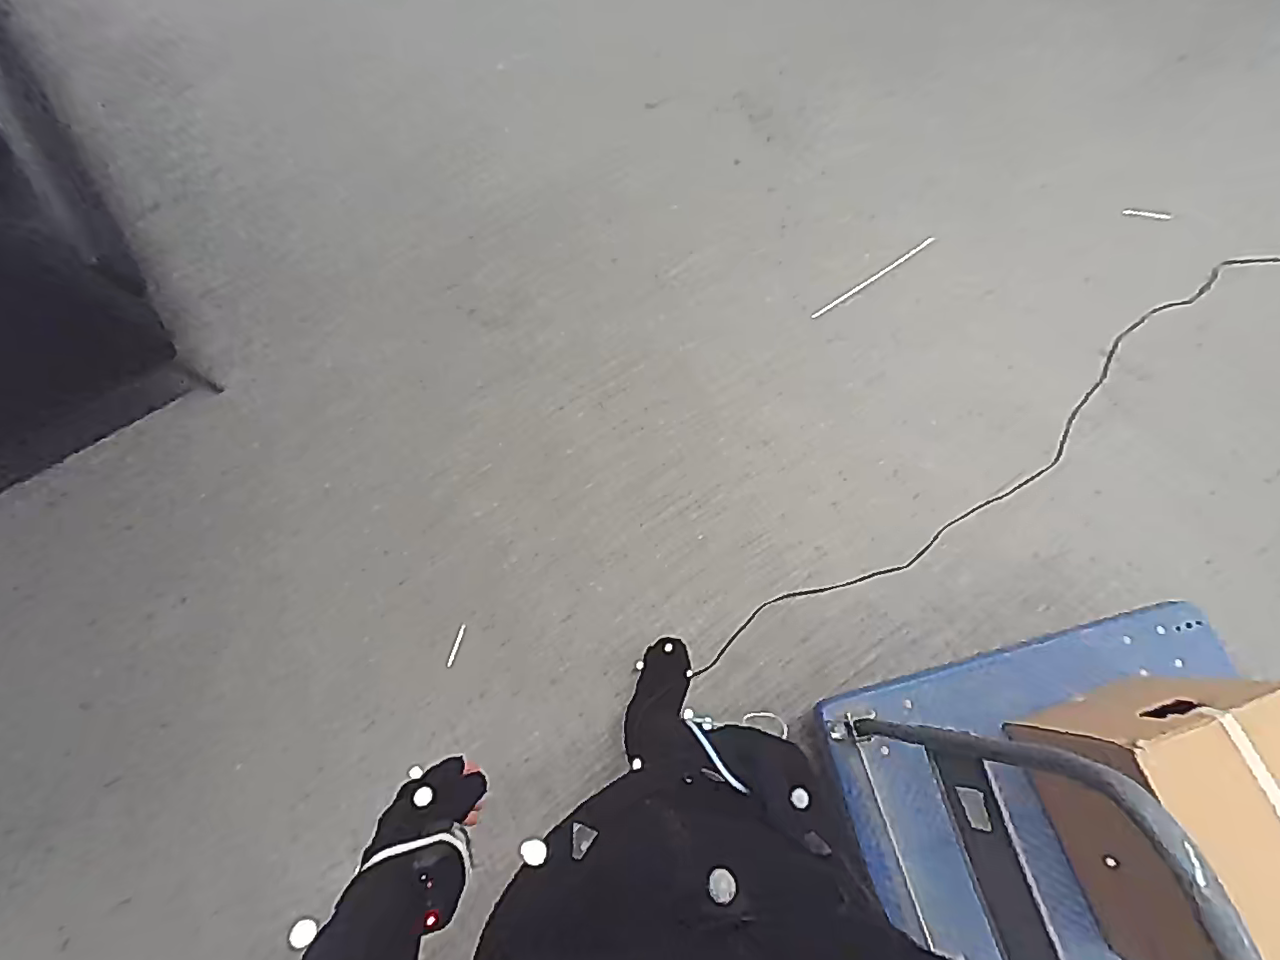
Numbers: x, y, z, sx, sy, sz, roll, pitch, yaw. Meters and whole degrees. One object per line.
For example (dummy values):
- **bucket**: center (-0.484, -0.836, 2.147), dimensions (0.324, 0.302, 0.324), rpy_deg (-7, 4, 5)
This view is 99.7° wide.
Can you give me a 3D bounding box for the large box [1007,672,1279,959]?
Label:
- **large box**: center (0.940, 0.574, 0.906), dimensions (0.320, 0.320, 0.408), rpy_deg (-18, 72, -6)
